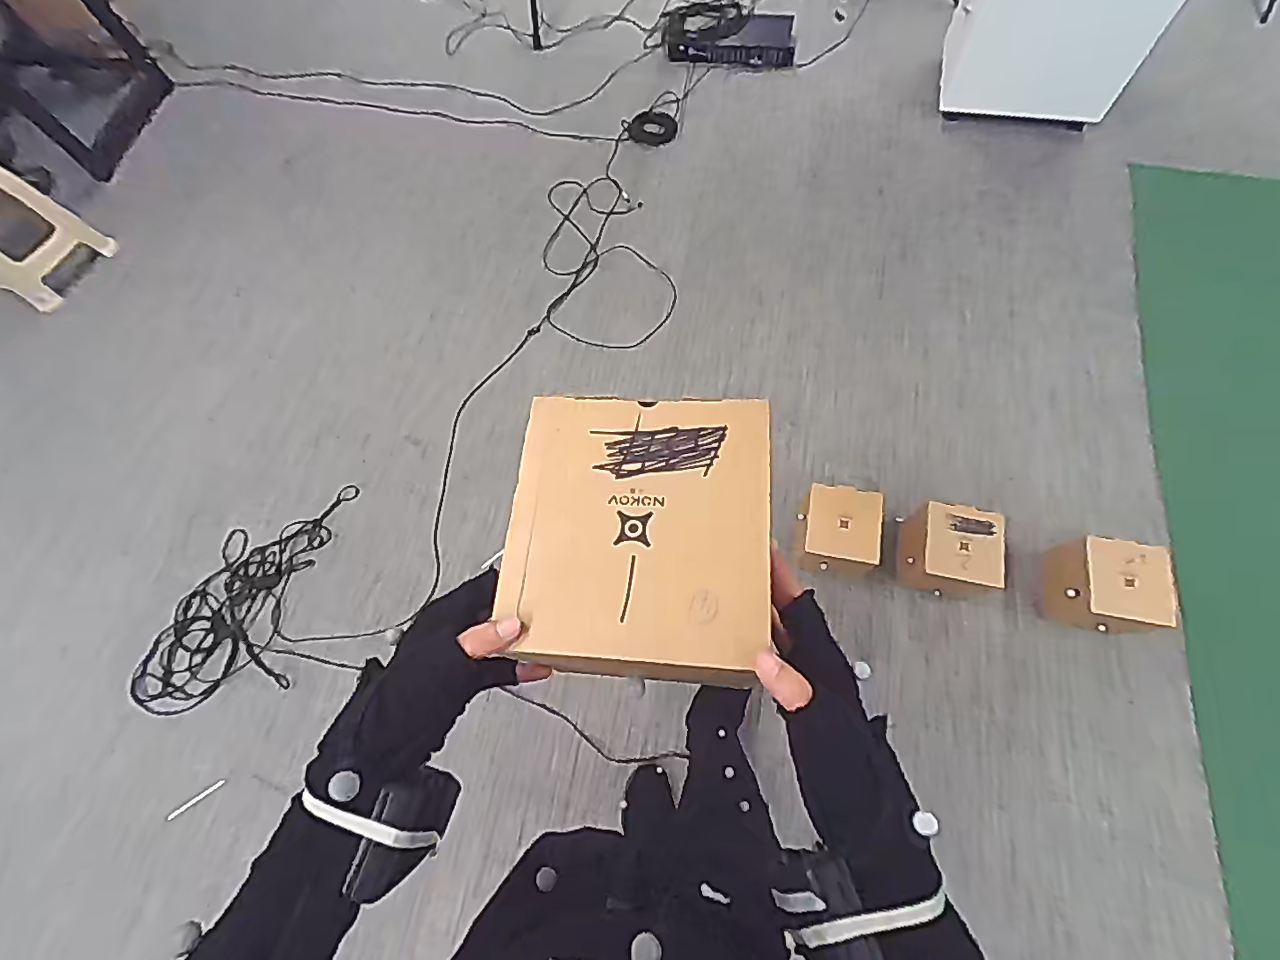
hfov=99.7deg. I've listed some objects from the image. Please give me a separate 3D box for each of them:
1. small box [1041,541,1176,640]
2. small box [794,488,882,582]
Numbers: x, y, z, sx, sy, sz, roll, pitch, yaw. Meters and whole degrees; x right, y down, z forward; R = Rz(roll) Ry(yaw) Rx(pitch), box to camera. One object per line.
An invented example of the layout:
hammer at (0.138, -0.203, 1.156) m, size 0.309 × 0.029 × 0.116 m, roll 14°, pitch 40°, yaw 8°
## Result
small box at (1.047, 0.257, 1.225) m, size 0.168 × 0.176 × 0.179 m, roll 10°, pitch 69°, yaw 8°
small box at (0.477, 0.139, 1.319) m, size 0.168 × 0.176 × 0.179 m, roll 9°, pitch 68°, yaw 9°
